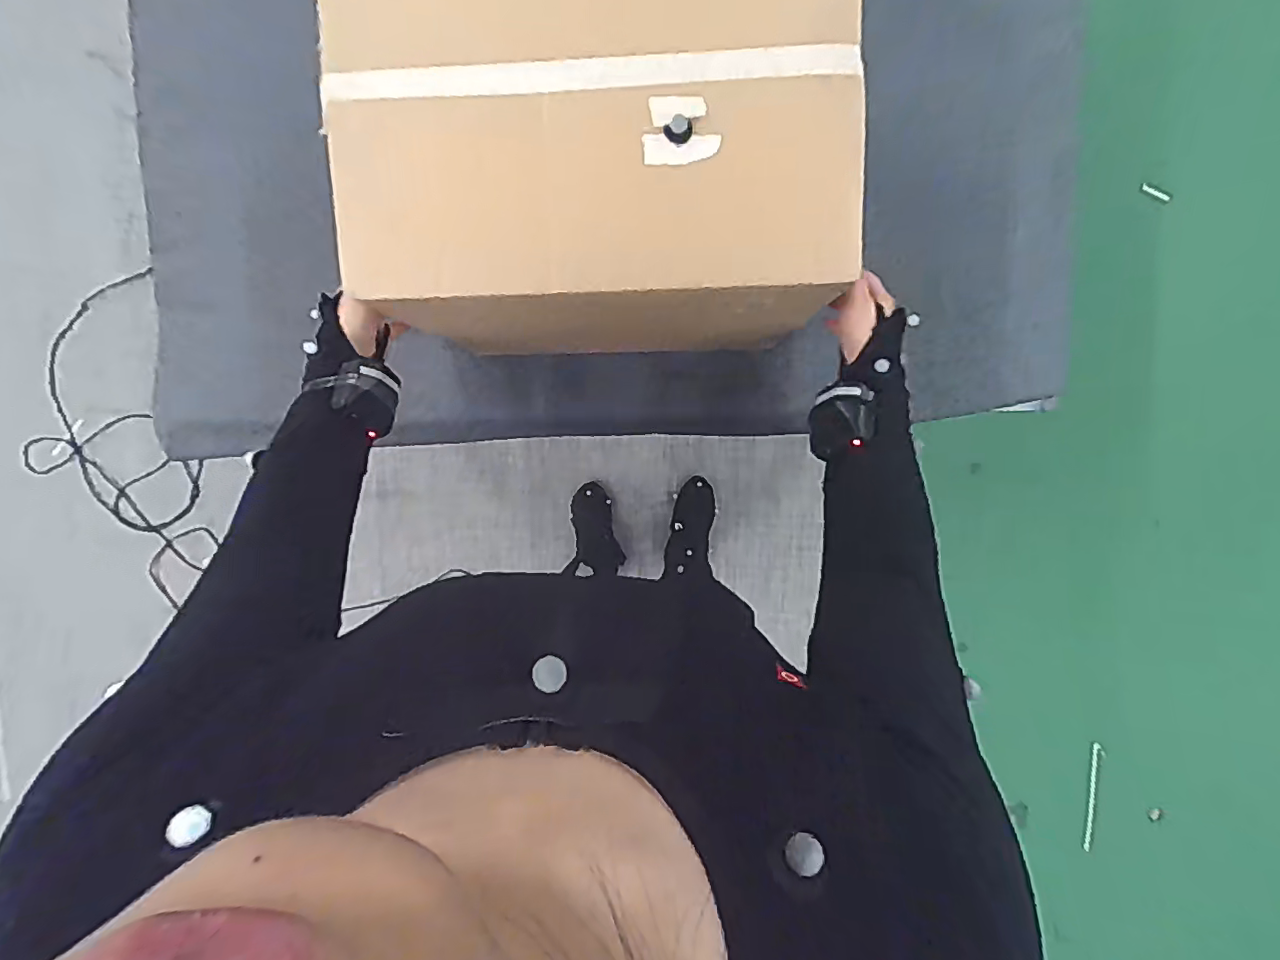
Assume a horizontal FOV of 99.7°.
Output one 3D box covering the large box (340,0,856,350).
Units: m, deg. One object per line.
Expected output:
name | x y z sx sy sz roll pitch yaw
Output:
large box | -0.032 -0.324 0.569 0.408 0.320 0.320 -2 96 1
